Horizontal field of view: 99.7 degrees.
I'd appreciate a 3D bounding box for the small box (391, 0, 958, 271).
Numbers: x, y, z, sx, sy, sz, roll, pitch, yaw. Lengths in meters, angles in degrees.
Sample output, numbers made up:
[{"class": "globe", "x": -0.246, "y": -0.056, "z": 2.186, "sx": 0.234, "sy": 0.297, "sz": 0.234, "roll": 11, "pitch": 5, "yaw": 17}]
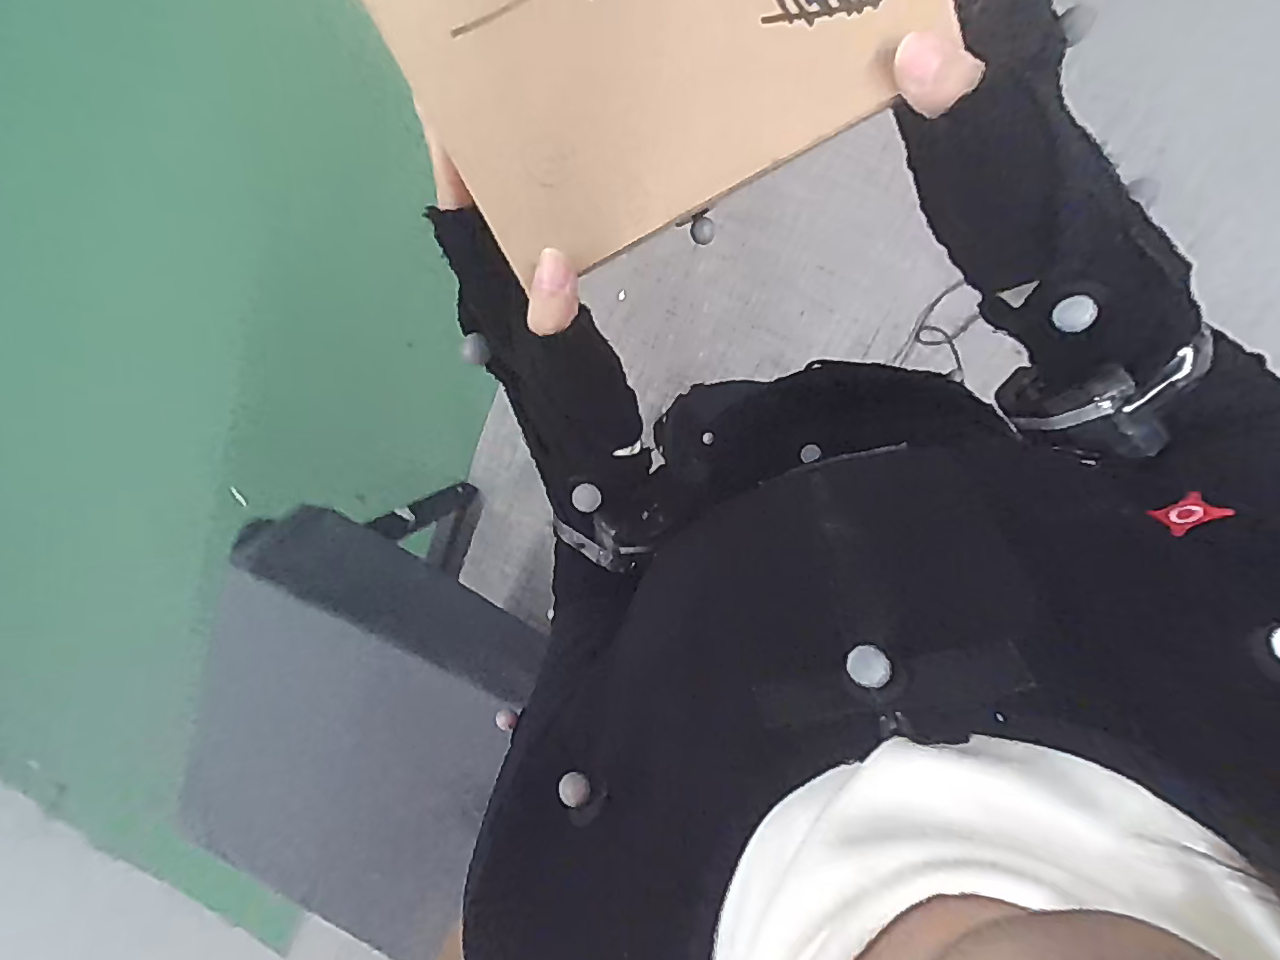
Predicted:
[{"class": "small box", "x": 0.001, "y": -0.216, "z": 0.246, "sx": 0.179, "sy": 0.176, "sz": 0.168, "roll": -23, "pitch": 111, "yaw": 11}]
